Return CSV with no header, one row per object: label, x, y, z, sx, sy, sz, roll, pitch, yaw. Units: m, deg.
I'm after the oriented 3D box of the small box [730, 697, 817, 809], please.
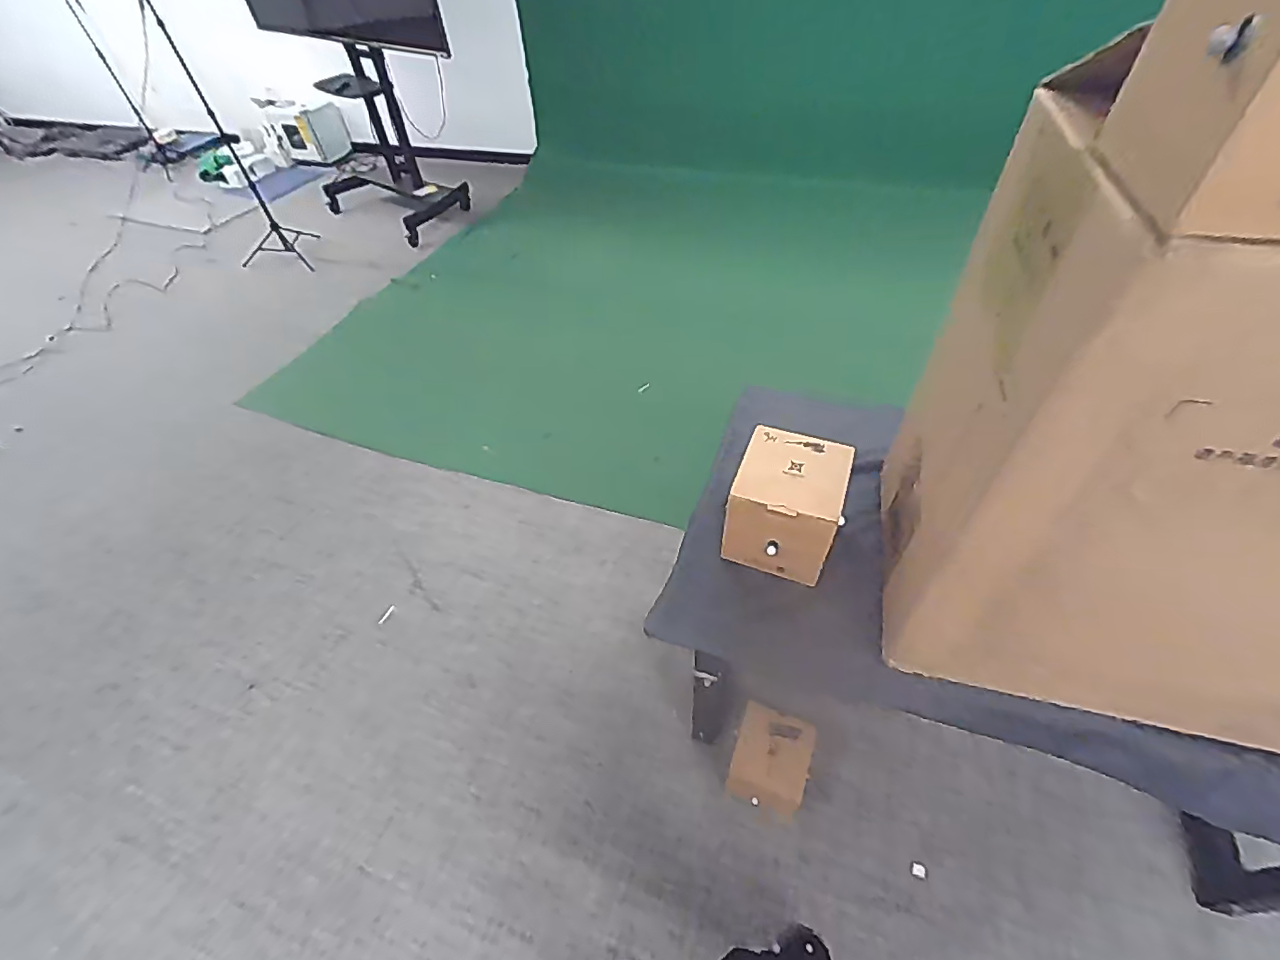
small box,0.323,0.672,1.330,0.168,0.176,0.179,15,53,18
